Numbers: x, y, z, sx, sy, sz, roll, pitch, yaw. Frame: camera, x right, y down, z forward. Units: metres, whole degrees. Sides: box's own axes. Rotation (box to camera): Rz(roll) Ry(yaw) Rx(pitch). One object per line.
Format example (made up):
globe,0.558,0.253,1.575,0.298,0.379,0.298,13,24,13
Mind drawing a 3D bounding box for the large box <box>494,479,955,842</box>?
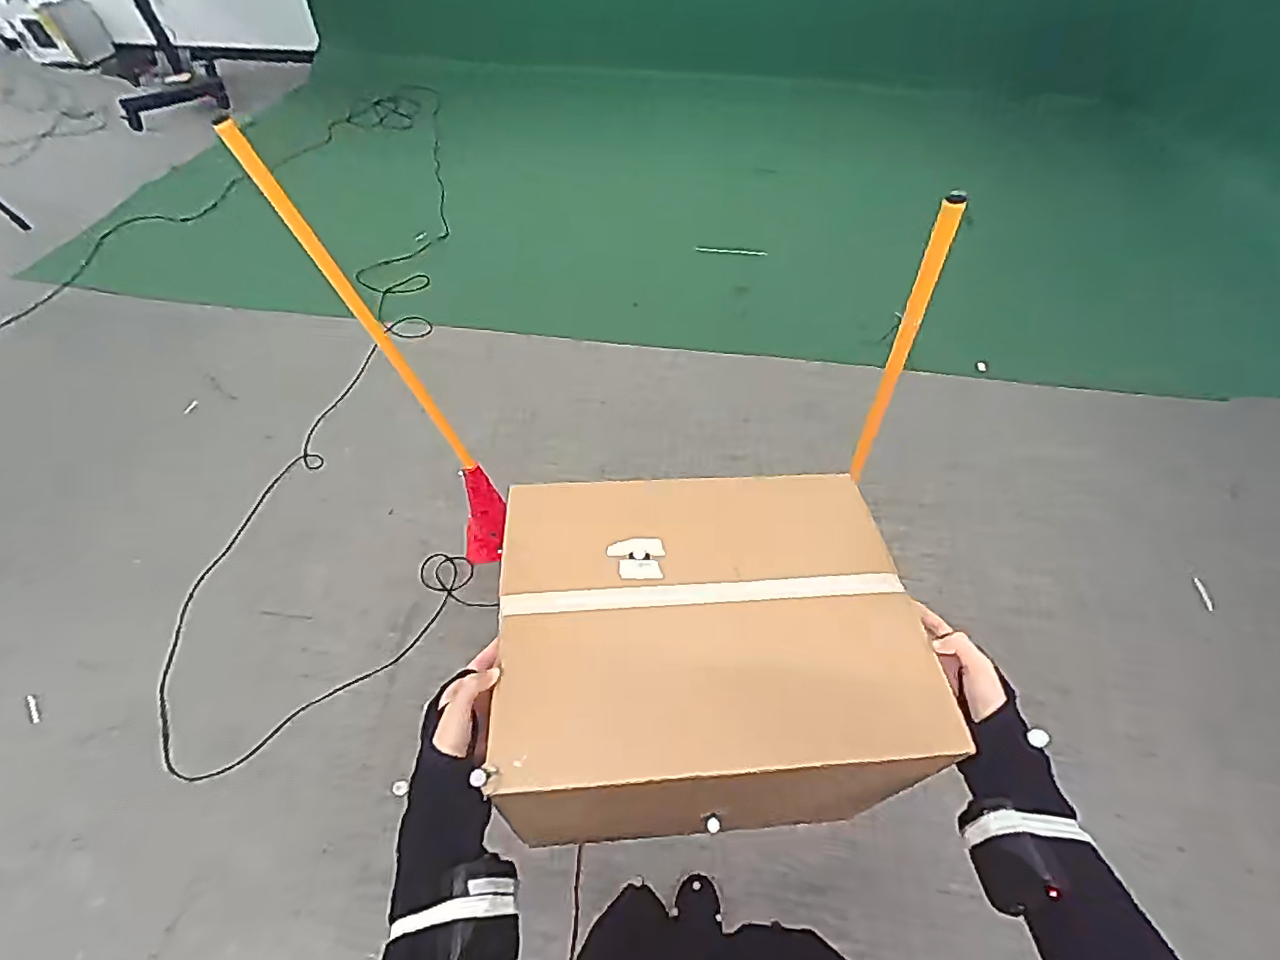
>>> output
large box,0.061,0.222,0.658,0.408,0.320,0.320,-3,49,-5
